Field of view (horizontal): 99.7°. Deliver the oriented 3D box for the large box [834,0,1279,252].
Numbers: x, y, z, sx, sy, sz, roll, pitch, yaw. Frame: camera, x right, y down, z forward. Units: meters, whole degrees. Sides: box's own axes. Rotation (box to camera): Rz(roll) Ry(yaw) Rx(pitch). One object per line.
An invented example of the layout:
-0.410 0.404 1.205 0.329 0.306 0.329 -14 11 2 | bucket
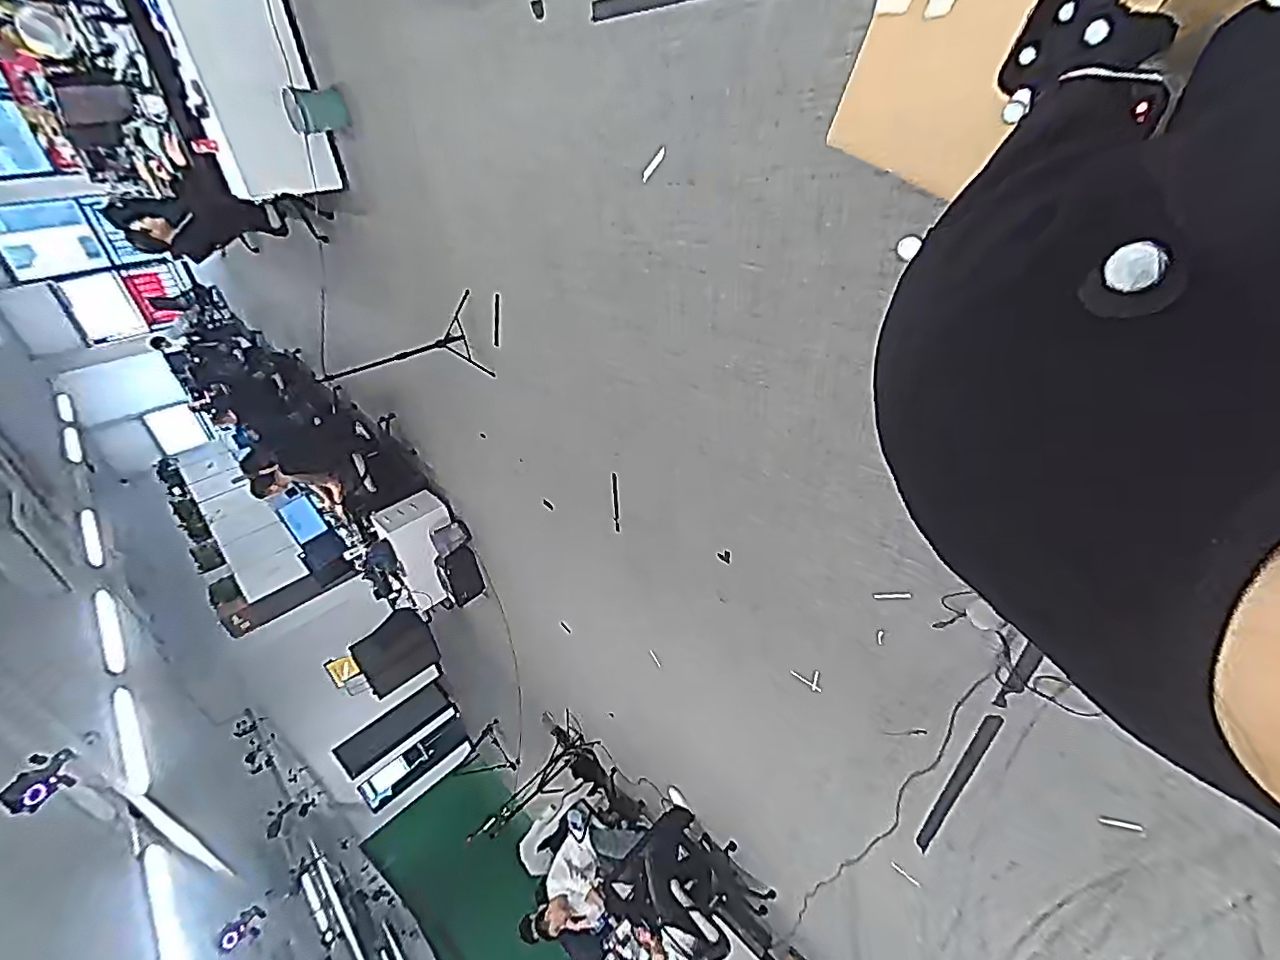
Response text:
0.543 -0.516 0.701 0.320 0.408 0.320 52 143 33 | large box
